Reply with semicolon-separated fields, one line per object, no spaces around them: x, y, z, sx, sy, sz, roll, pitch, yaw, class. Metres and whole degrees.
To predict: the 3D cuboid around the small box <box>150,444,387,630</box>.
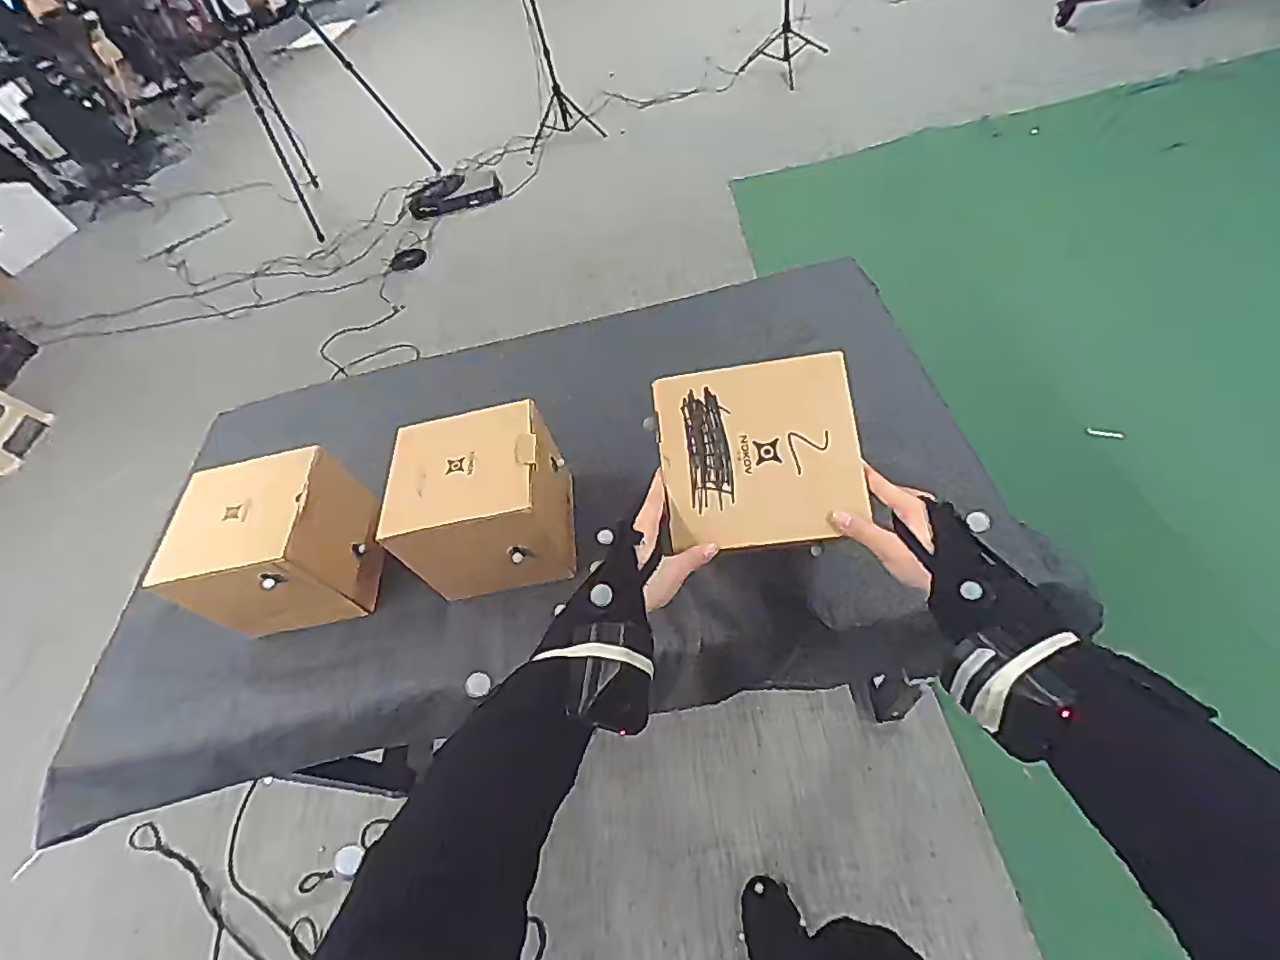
-0.463;0.082;0.713;0.179;0.176;0.168;-12;53;4;small box

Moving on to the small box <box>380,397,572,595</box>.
-0.189;0.027;0.684;0.179;0.176;0.168;-13;52;6;small box
